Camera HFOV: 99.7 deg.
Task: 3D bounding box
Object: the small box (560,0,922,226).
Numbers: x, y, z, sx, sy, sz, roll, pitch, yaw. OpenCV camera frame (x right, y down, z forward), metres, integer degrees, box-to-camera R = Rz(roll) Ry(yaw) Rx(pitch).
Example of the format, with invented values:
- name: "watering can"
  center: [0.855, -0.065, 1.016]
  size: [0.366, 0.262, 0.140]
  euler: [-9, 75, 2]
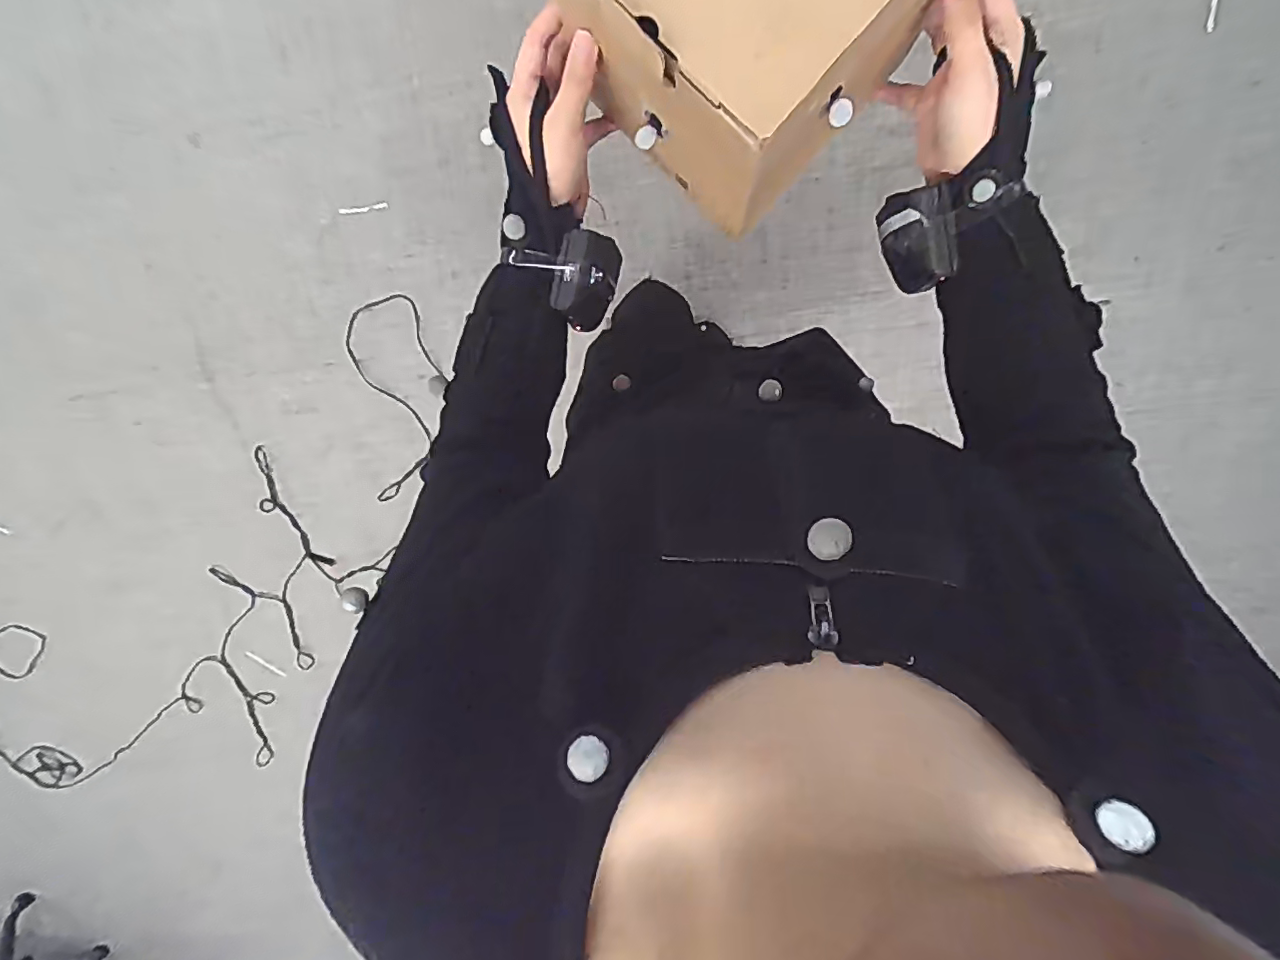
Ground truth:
- name: "small box"
  center: [0.068, -0.301, 0.343]
  size: [0.168, 0.176, 0.179]
  euler: [44, 101, -1]
